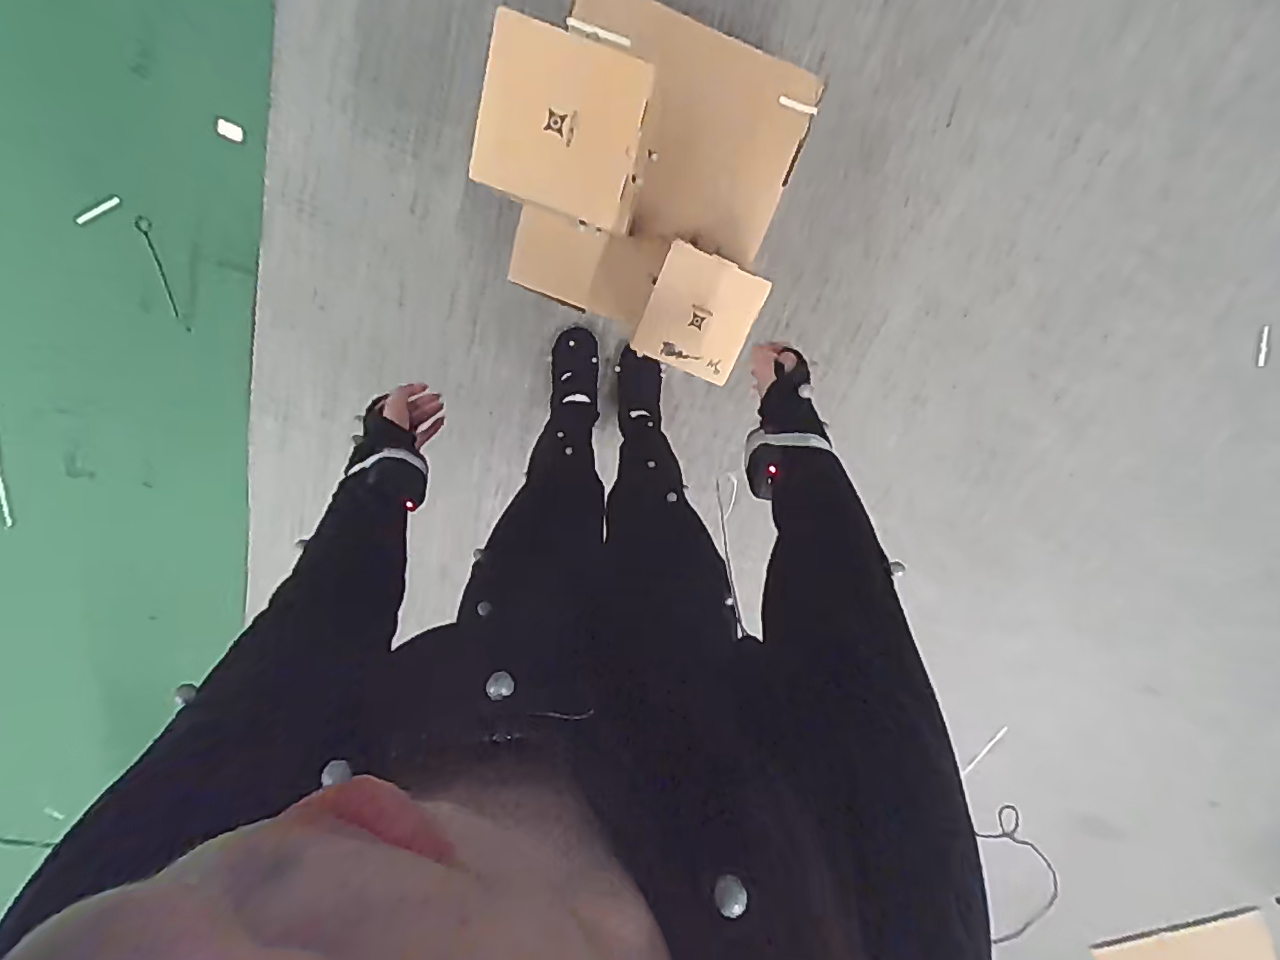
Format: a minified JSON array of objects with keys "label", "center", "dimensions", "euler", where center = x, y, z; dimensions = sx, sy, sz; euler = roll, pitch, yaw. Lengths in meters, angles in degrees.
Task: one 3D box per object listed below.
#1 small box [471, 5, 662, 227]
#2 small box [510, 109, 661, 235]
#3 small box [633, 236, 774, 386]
[{"label":"small box","center":[-0.084,-0.421,0.664],"dimensions":[0.179,0.176,0.168],"euler":[17,112,-7]},{"label":"small box","center":[-0.077,-0.482,0.815],"dimensions":[0.179,0.176,0.168],"euler":[17,112,-6]},{"label":"small box","center":[0.094,-0.286,0.899],"dimensions":[0.168,0.176,0.179],"euler":[22,112,-9]}]
